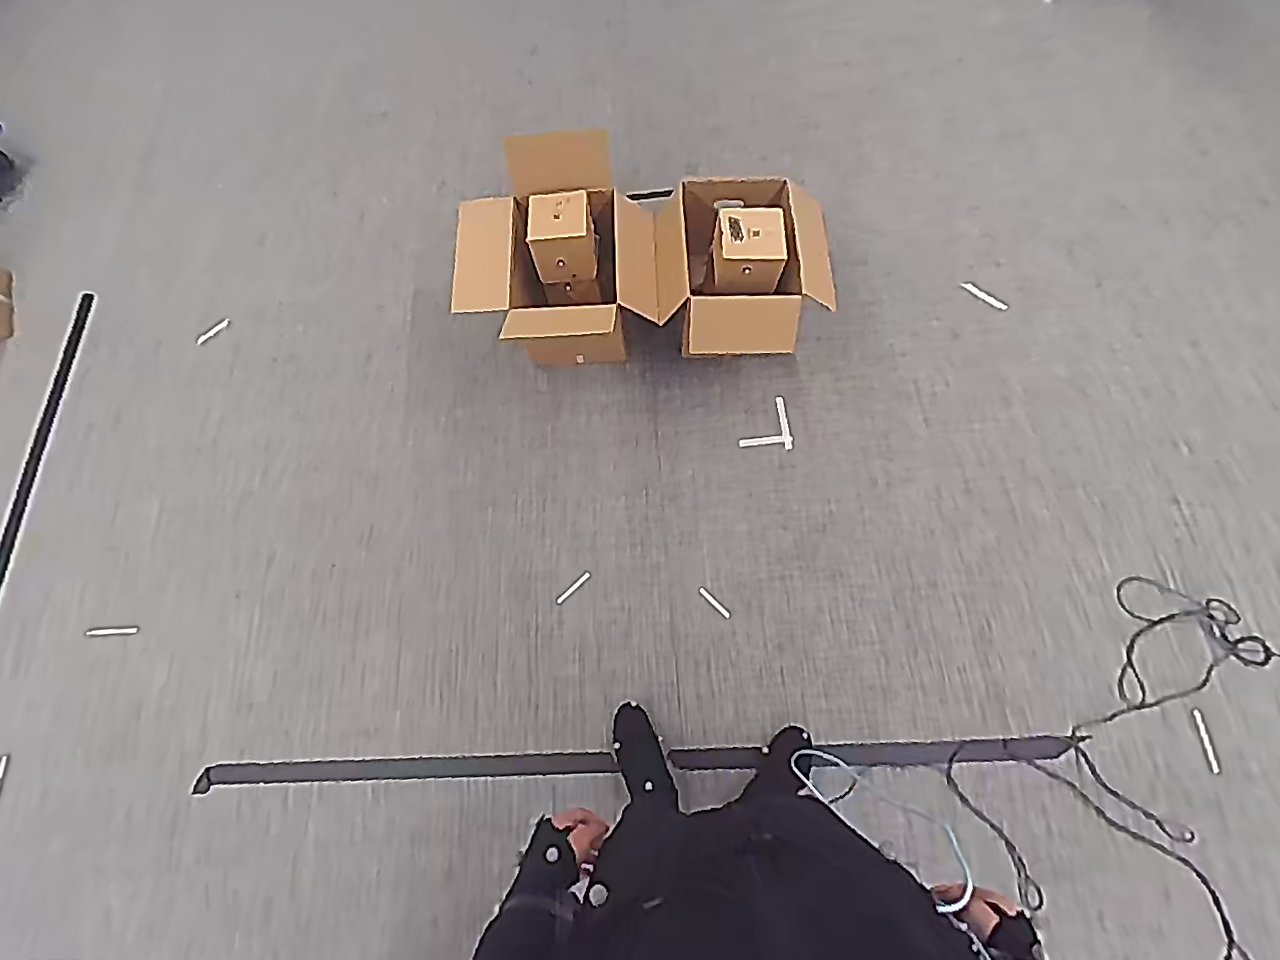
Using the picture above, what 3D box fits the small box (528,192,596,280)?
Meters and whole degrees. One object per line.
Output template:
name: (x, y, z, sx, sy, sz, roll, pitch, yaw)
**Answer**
small box: (-0.220, -0.702, 1.575, 0.168, 0.176, 0.179, -3, 67, 3)
